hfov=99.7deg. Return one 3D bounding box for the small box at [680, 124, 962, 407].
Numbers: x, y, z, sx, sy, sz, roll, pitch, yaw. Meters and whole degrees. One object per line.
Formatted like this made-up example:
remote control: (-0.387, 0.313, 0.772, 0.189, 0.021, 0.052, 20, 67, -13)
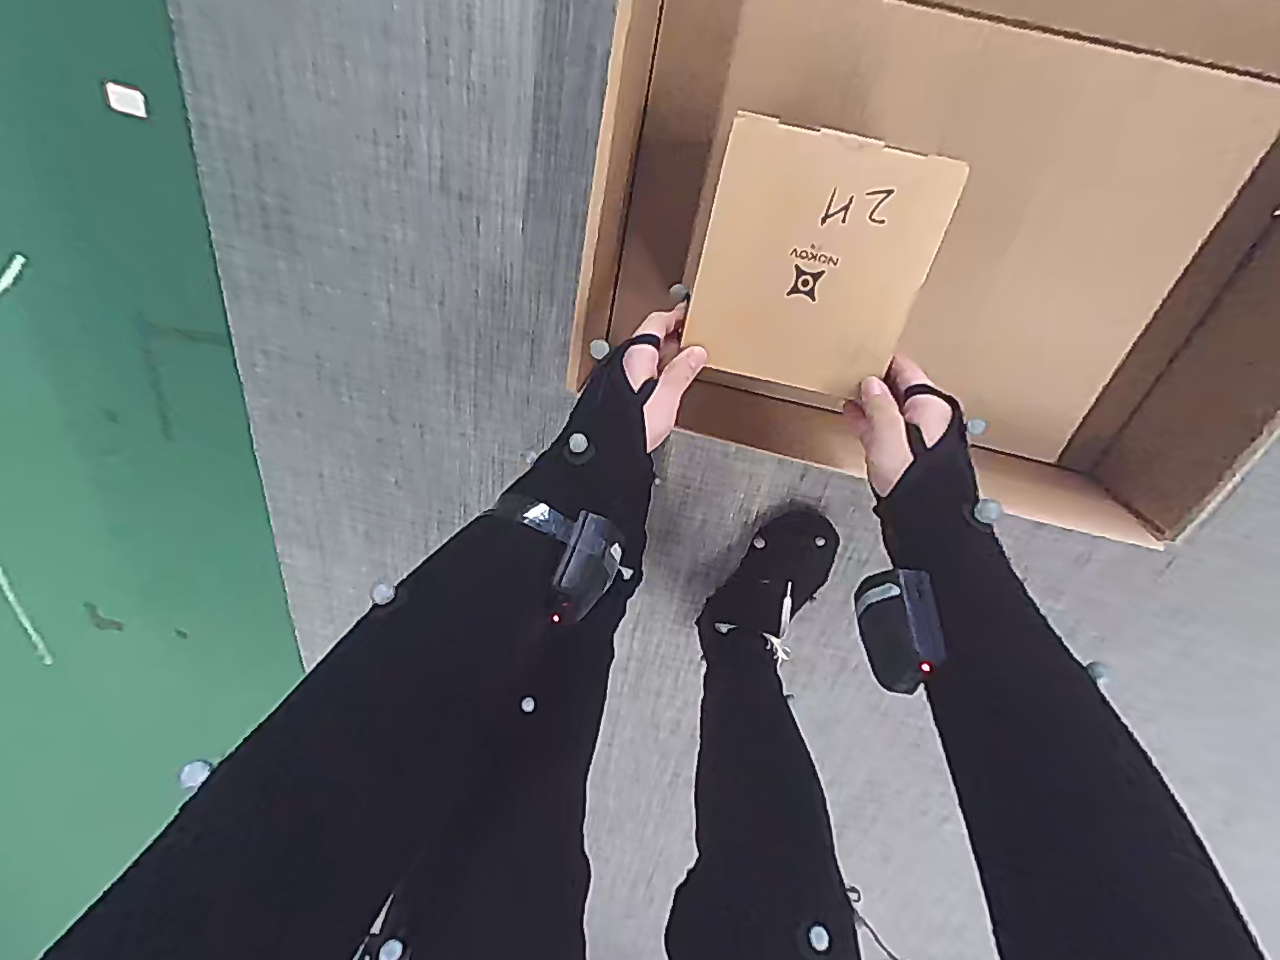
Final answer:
small box: (0.139, -0.190, 0.487, 0.168, 0.176, 0.179, 13, 117, -1)
